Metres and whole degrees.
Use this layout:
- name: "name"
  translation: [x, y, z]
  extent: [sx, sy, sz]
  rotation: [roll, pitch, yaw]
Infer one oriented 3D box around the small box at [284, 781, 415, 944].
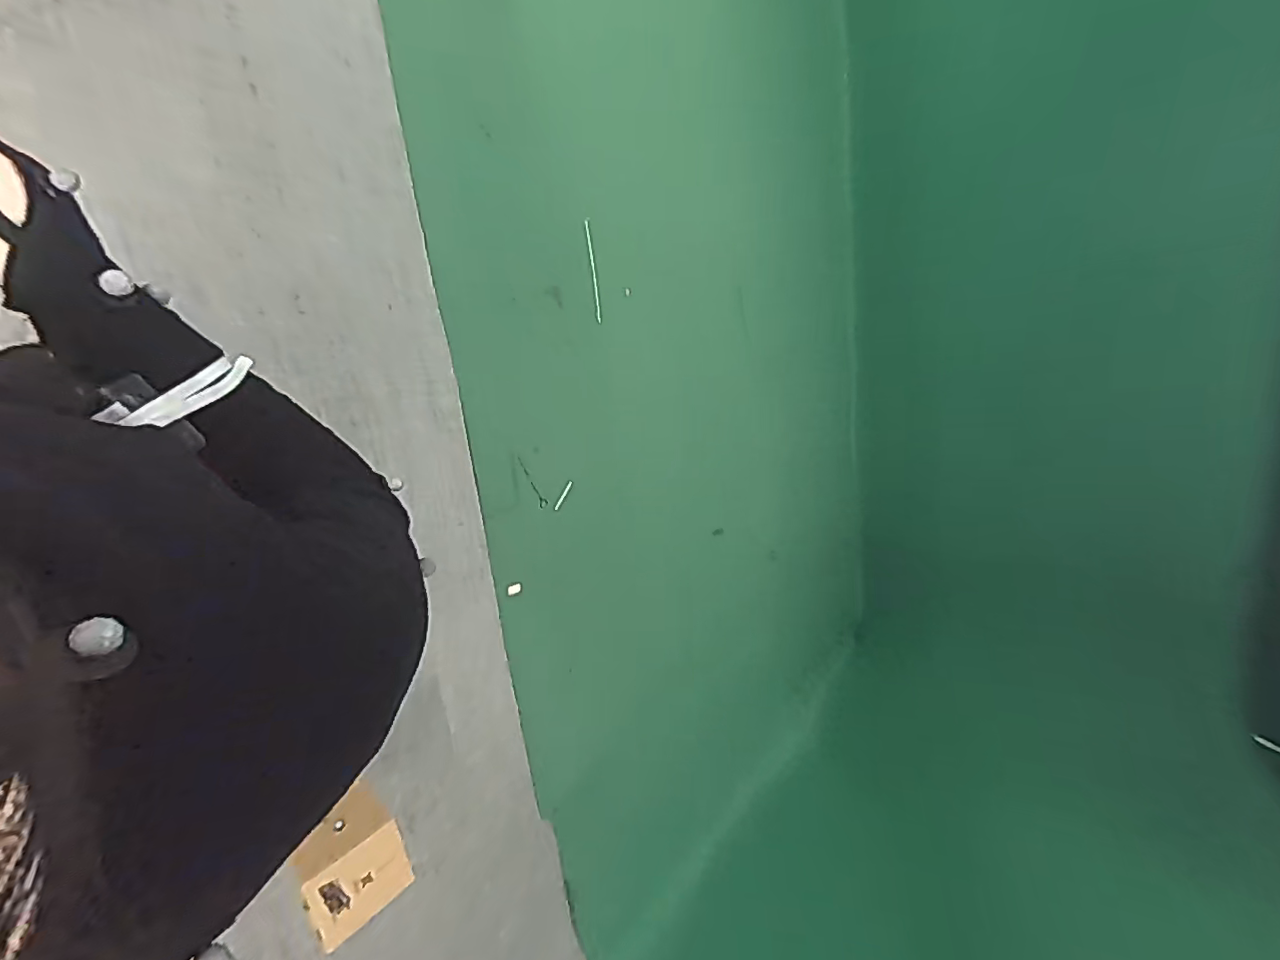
- name: "small box"
  translation: [-0.596, 0.764, 1.101]
  extent: [0.179, 0.176, 0.168]
  rotation: [-23, 110, -44]
